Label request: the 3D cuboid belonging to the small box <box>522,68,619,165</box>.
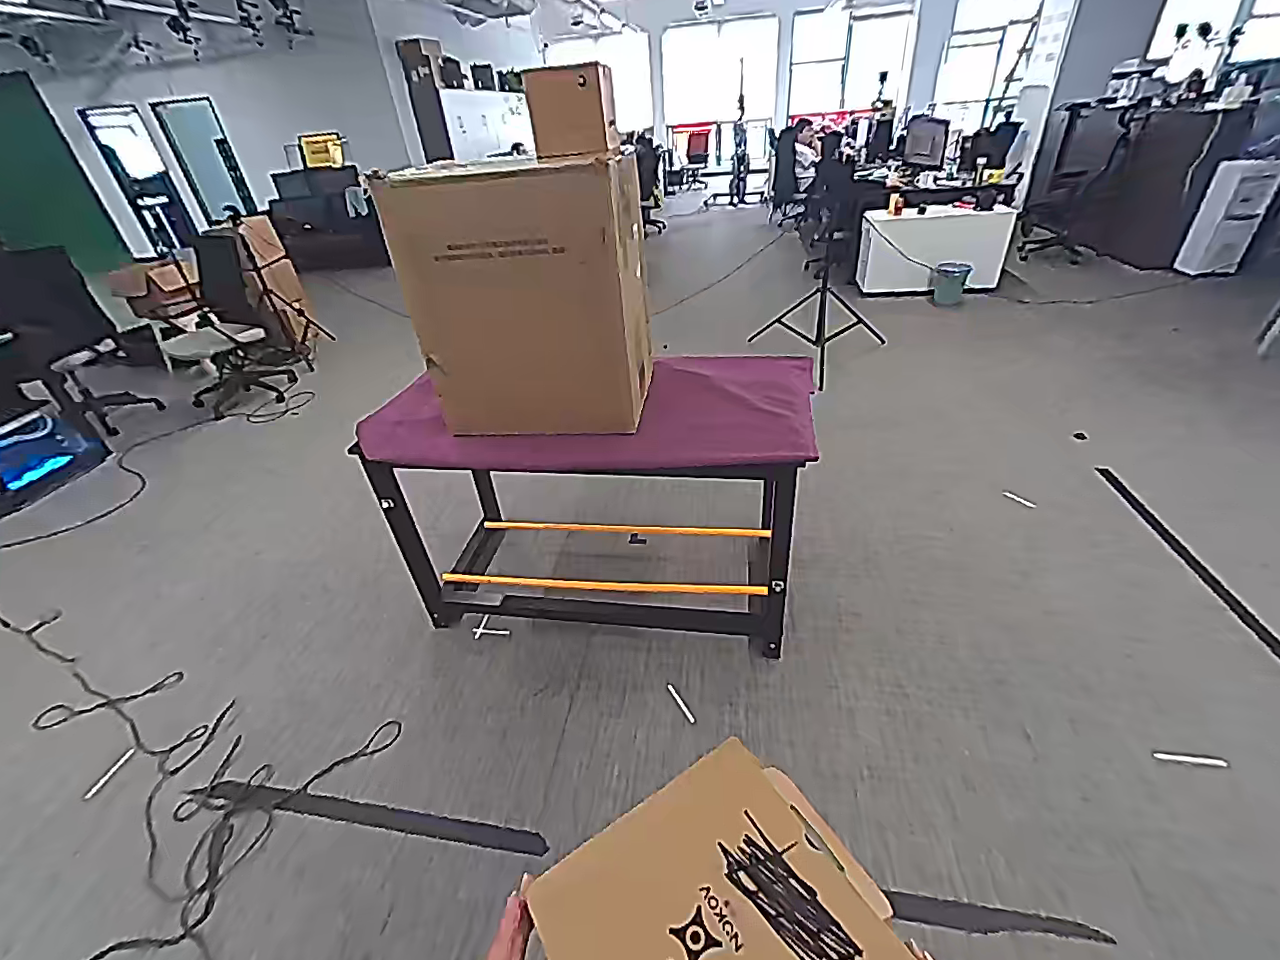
[{"bbox_3d":[-0.154,-0.844,1.266,0.179,0.176,0.168,0,34,9],"label":"small box"}]
